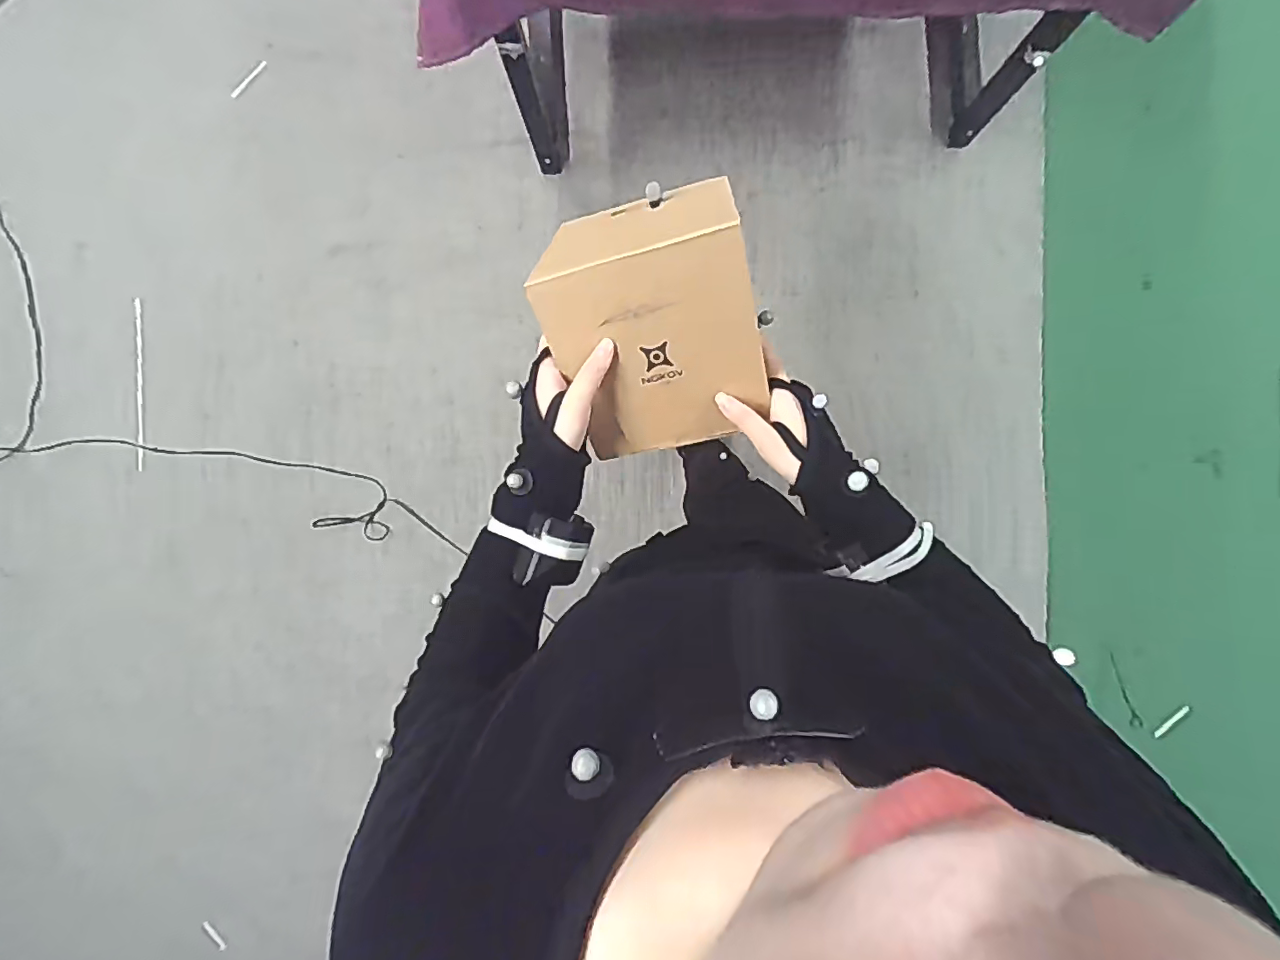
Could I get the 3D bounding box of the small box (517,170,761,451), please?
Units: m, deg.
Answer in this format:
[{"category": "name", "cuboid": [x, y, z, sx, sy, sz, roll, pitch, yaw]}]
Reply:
[{"category": "small box", "cuboid": [0.013, -0.155, 0.498, 0.168, 0.176, 0.179, -10, 128, 13]}]
